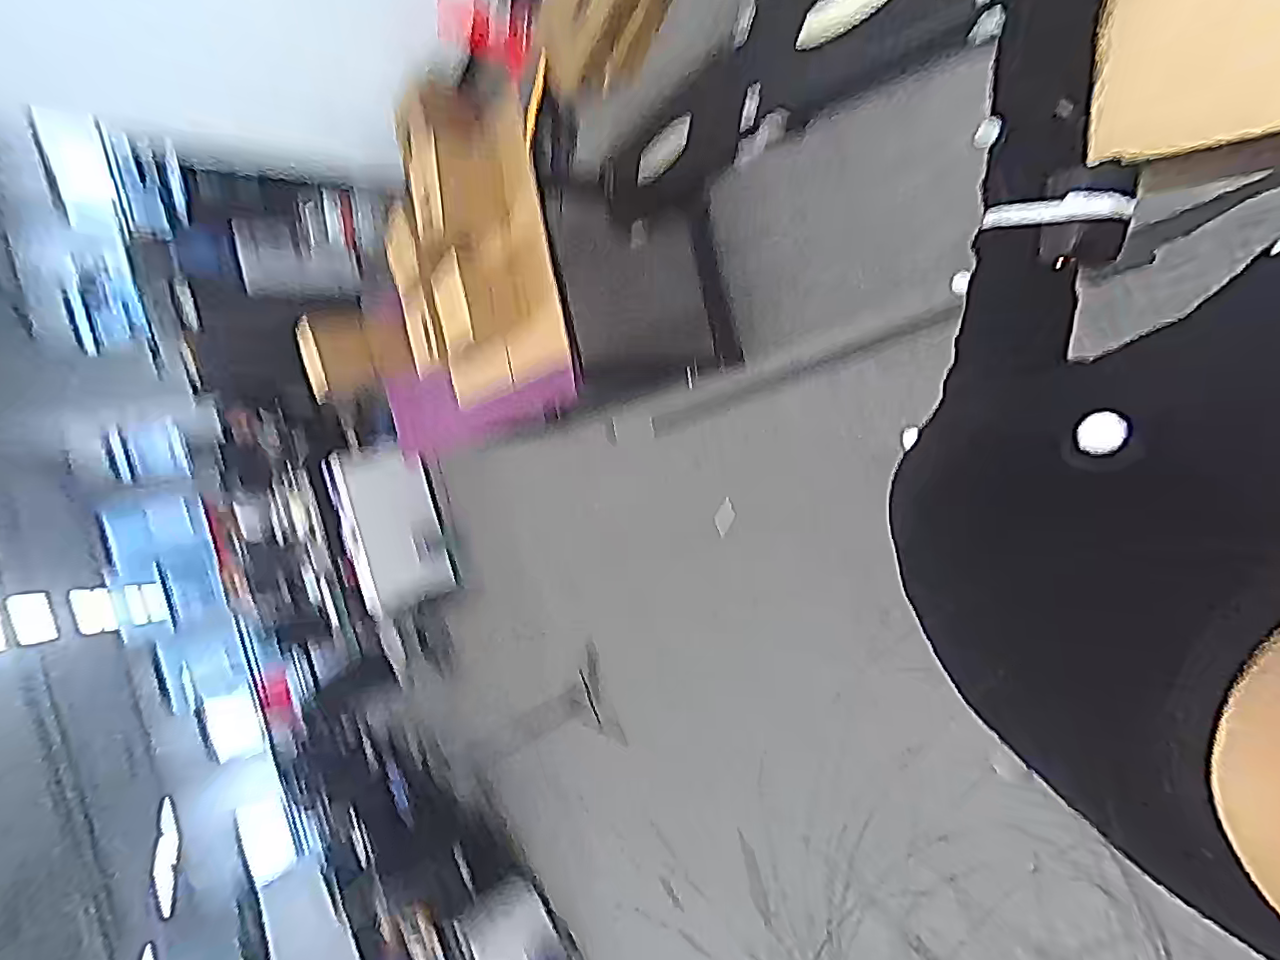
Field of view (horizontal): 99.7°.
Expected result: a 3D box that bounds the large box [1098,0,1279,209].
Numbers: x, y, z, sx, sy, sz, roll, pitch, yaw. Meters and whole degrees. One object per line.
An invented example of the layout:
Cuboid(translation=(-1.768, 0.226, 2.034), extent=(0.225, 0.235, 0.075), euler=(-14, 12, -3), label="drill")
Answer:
Cuboid(translation=(0.556, -0.373, 0.308), extent=(0.408, 0.320, 0.320), euler=(11, 115, 45), label="large box")
